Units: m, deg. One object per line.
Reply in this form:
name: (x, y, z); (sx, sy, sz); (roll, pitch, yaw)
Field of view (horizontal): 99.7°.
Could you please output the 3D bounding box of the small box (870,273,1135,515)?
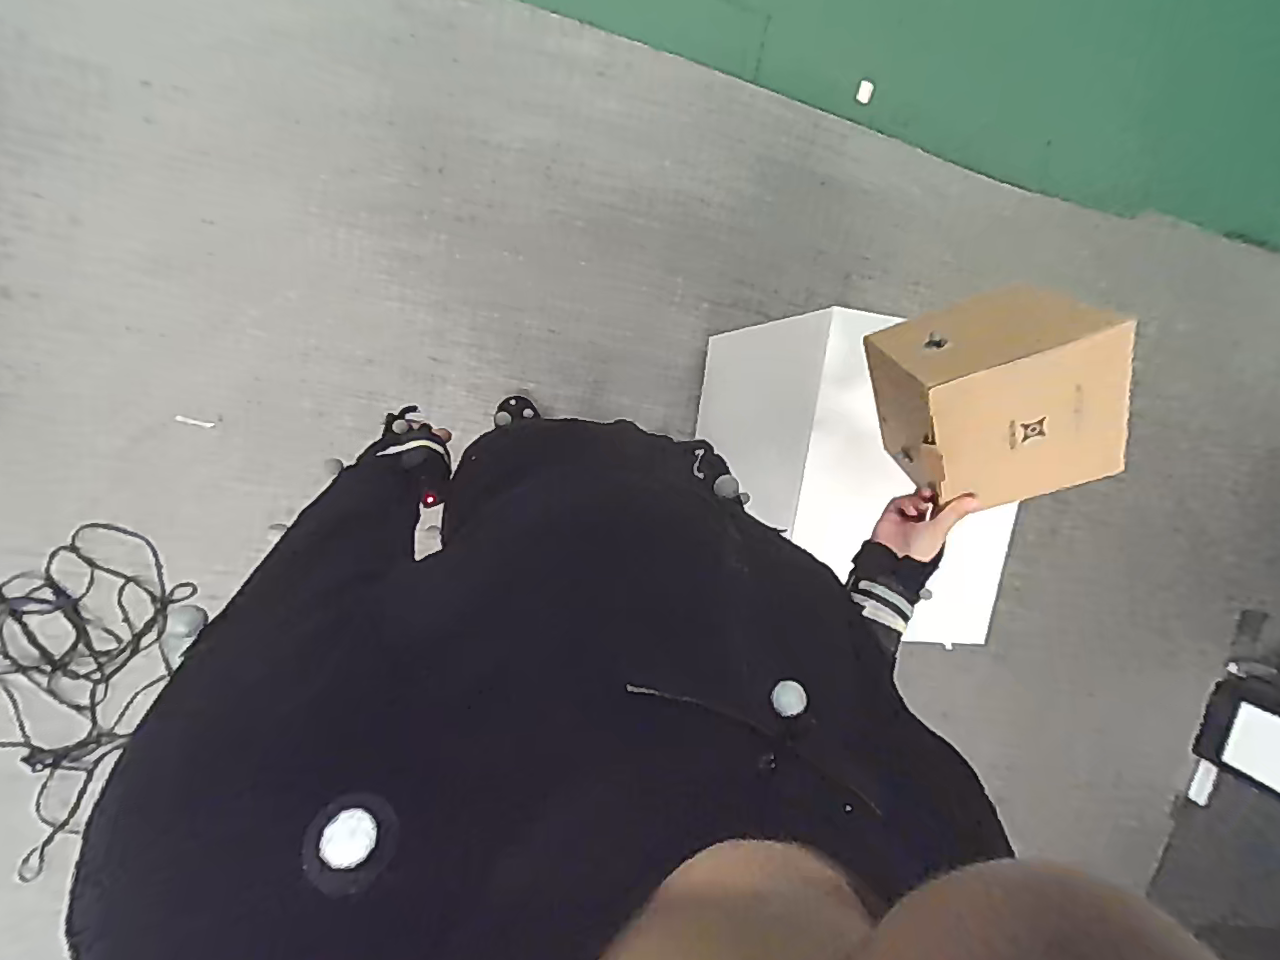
small box: (0.364, -0.097, 0.576); (0.179, 0.176, 0.168); (-21, 121, 11)
